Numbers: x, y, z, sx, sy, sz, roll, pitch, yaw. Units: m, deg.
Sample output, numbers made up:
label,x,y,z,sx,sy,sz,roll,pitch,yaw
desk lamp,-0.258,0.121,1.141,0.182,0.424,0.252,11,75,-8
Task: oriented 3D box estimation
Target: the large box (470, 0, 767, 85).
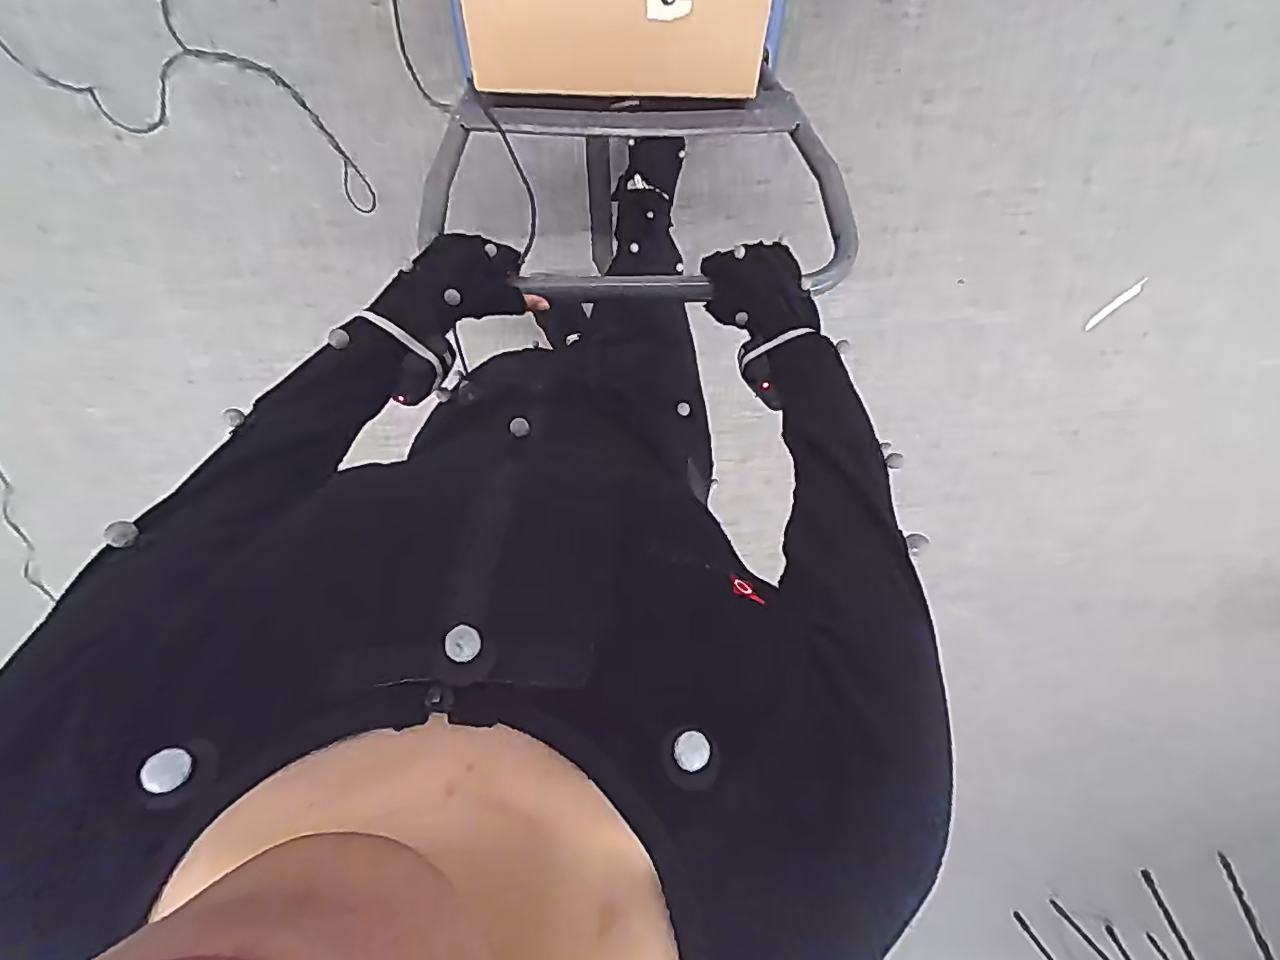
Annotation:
label,x,y,z,sx,sy,sz,roll,pitch,yaw
large box,-0.037,-0.789,0.770,0.408,0.320,0.320,-2,139,-4
